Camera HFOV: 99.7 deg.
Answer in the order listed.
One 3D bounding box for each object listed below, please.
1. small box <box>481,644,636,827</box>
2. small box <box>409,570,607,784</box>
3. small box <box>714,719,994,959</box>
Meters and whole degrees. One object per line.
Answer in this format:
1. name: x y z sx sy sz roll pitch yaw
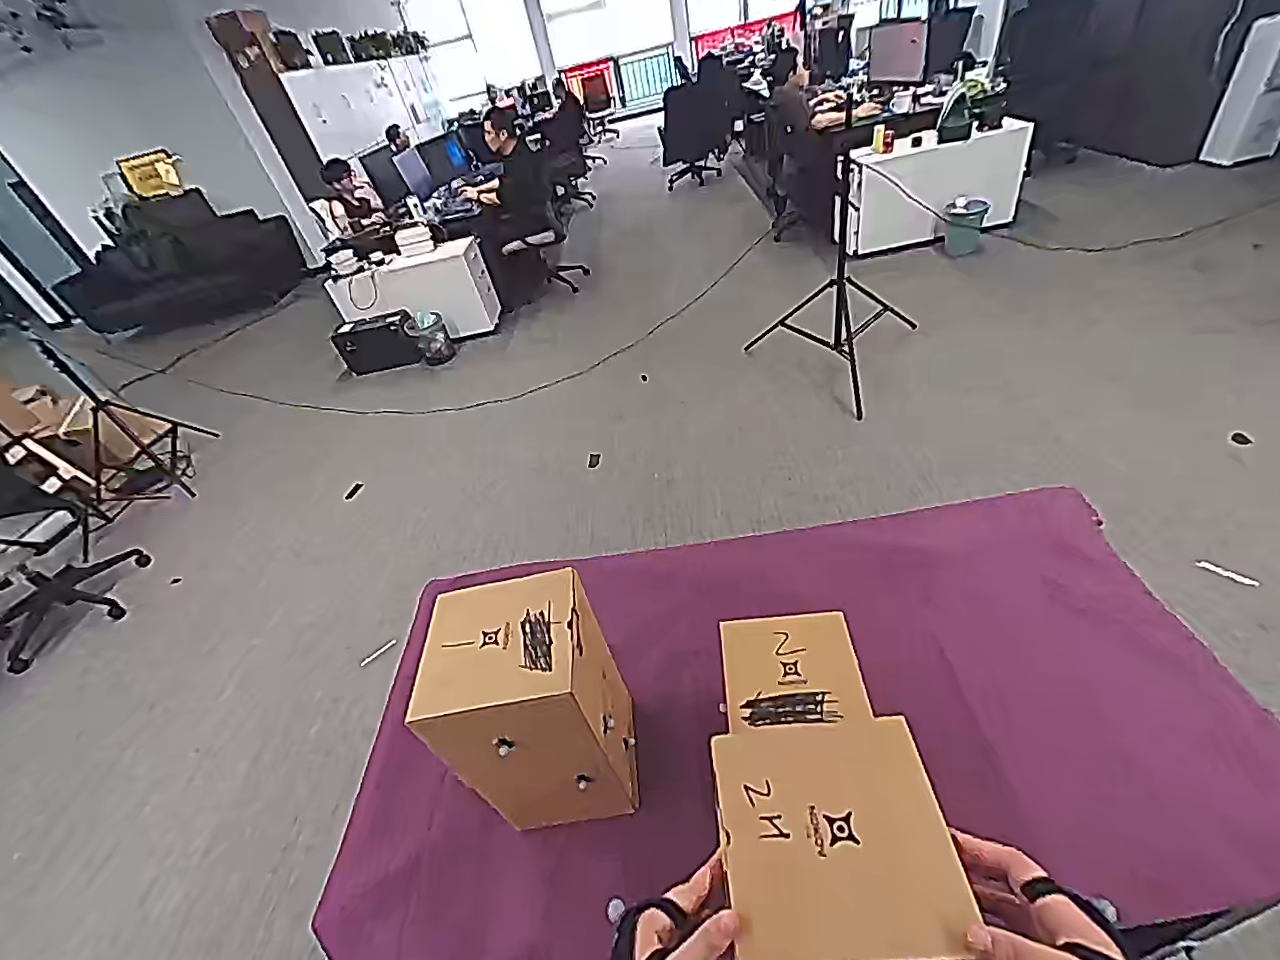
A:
1. small box: -0.110 0.359 0.756 0.179 0.176 0.168 -11 39 3
2. small box: -0.139 0.237 0.648 0.179 0.176 0.168 -12 39 4
3. small box: 0.169 0.338 0.481 0.179 0.176 0.168 -10 39 8
